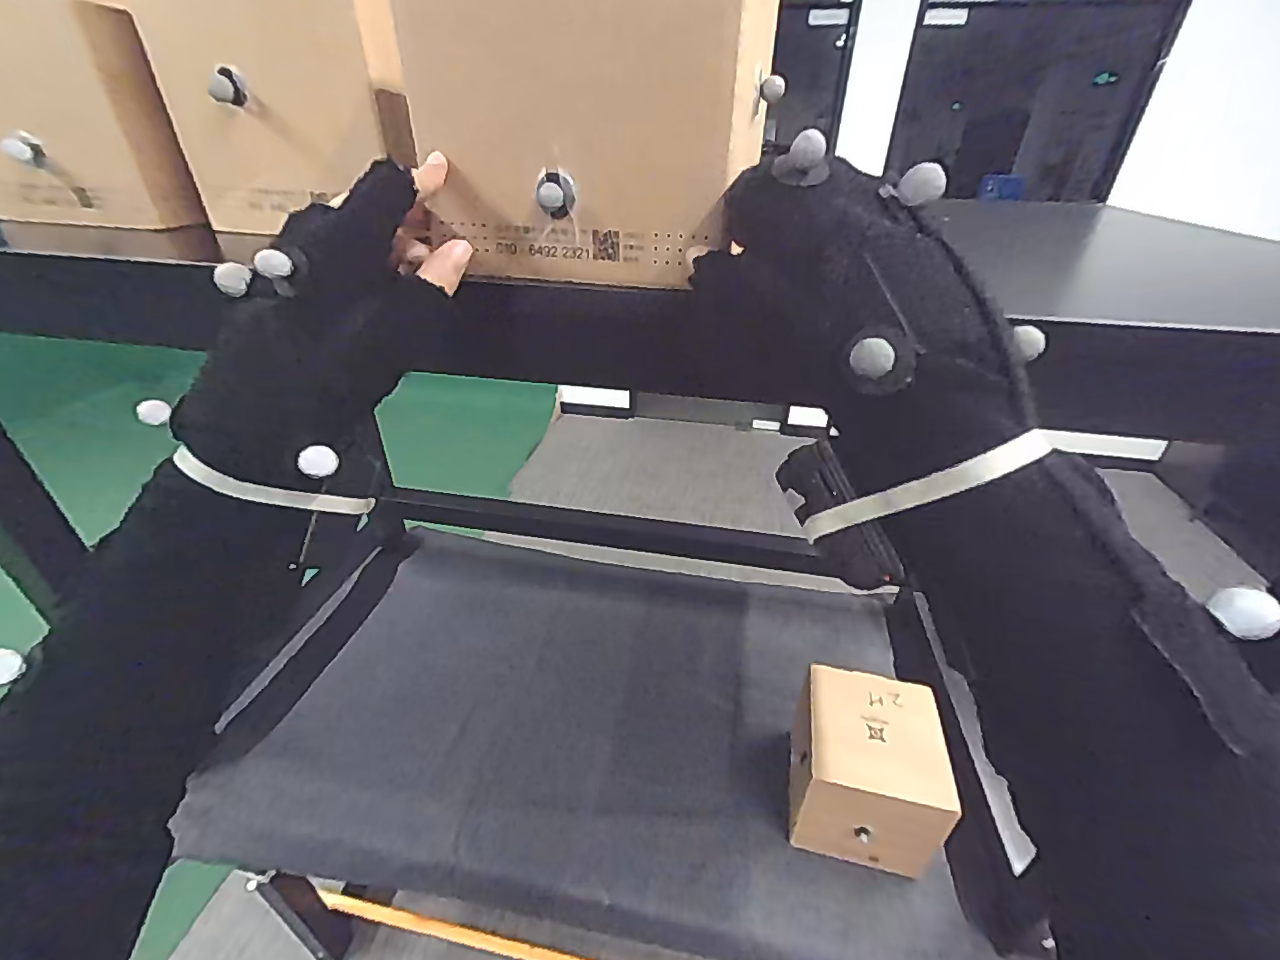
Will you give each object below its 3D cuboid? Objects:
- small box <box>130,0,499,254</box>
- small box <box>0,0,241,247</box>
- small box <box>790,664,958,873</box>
[{"bbox_3d":[-0.227,-0.284,0.433,0.168,0.176,0.179,8,33,11],"label":"small box"},{"bbox_3d":[-0.421,-0.307,0.458,0.168,0.176,0.179,7,34,10],"label":"small box"},{"bbox_3d":[0.304,0.390,0.738,0.168,0.176,0.179,9,33,11],"label":"small box"}]
